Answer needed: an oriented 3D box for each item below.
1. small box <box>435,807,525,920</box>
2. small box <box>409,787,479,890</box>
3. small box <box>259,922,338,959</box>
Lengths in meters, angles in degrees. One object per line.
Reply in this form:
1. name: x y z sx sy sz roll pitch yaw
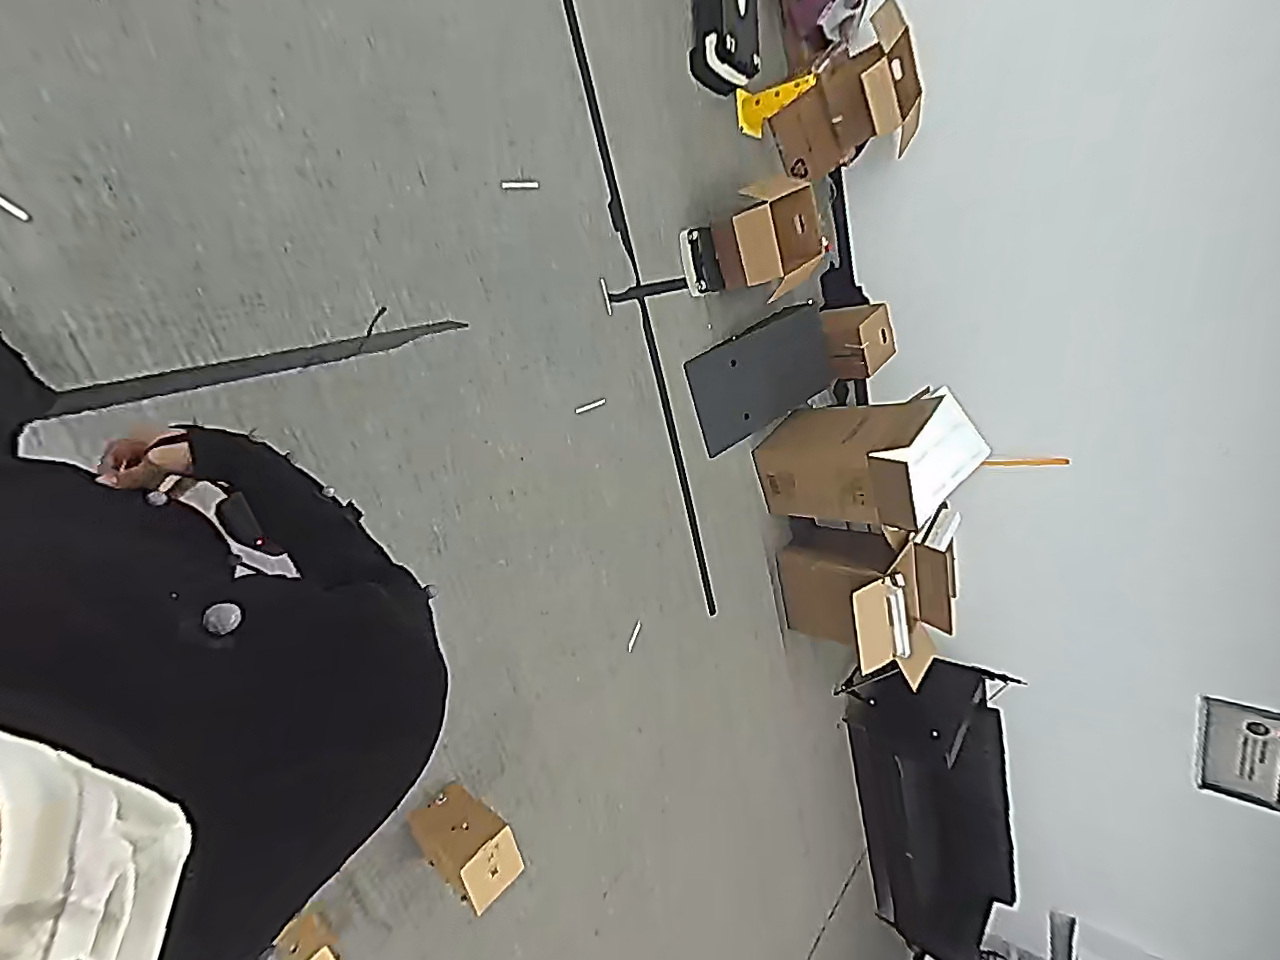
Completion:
1. small box: -0.467 1.107 1.576 0.168 0.176 0.179 -28 111 -42
2. small box: -0.588 1.108 1.687 0.168 0.176 0.179 -27 111 -42
3. small box: -0.884 1.304 1.399 0.168 0.176 0.179 -33 116 -39
